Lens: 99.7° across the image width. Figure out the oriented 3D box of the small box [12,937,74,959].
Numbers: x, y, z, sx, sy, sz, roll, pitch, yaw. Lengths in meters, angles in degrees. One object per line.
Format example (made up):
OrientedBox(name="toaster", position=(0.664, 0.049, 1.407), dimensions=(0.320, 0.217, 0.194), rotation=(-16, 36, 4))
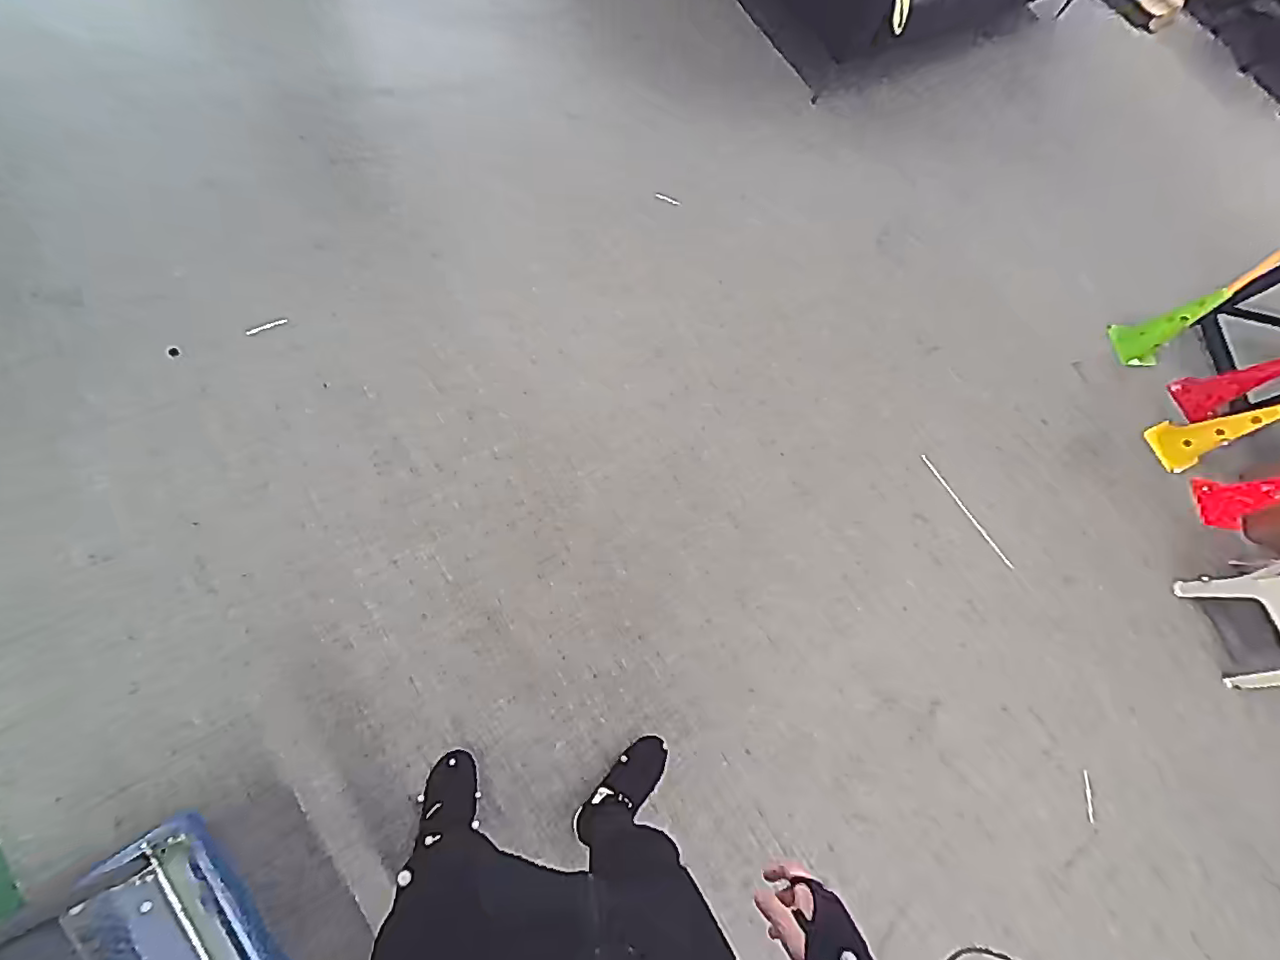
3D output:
OrientedBox(name="small box", position=(-0.999, 0.856, 0.810), dimensions=(0.179, 0.176, 0.168), rotation=(-32, 81, -22))
